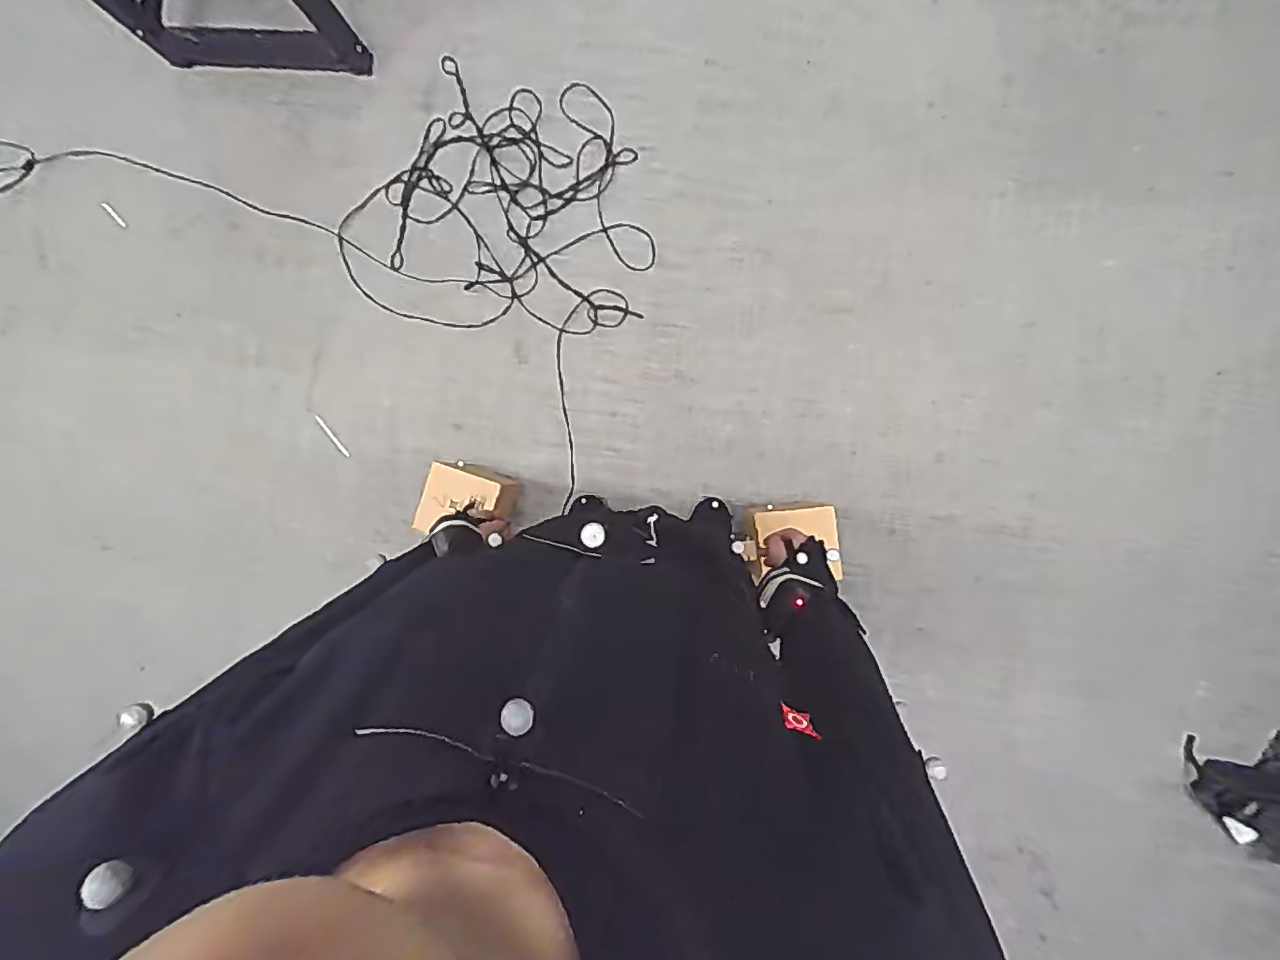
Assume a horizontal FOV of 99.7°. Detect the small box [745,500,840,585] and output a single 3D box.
[{"bbox_3d":[0.351,0.141,1.270,0.179,0.176,0.168,-7,91,5],"label":"small box"}]
